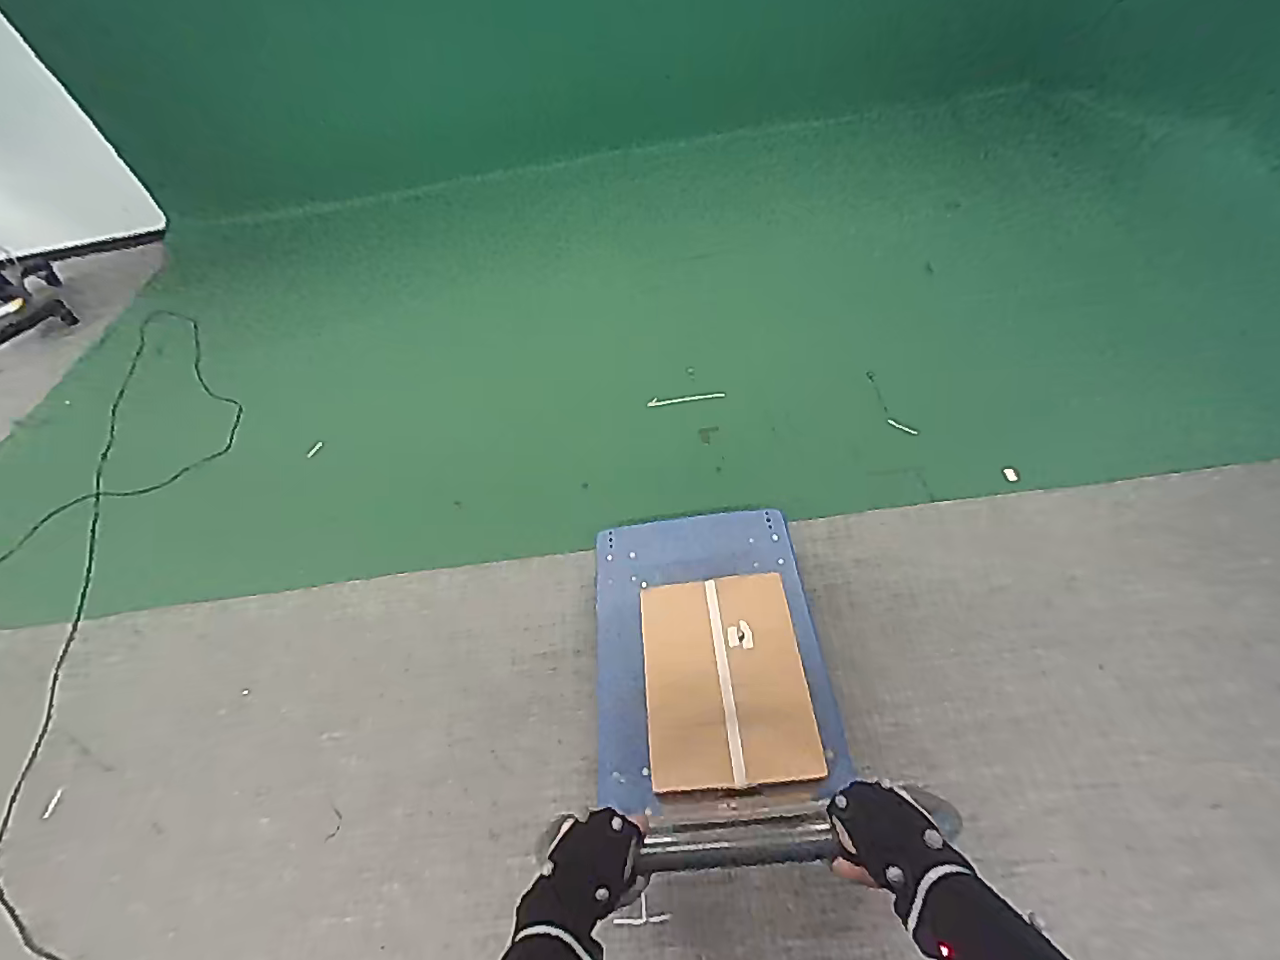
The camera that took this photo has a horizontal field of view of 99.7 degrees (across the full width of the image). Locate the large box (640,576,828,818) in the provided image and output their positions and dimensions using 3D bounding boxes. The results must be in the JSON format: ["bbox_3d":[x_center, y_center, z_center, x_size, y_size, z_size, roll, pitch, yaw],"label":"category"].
[{"bbox_3d":[0.187,0.479,1.191,0.320,0.320,0.408,-7,50,3],"label":"large box"}]
